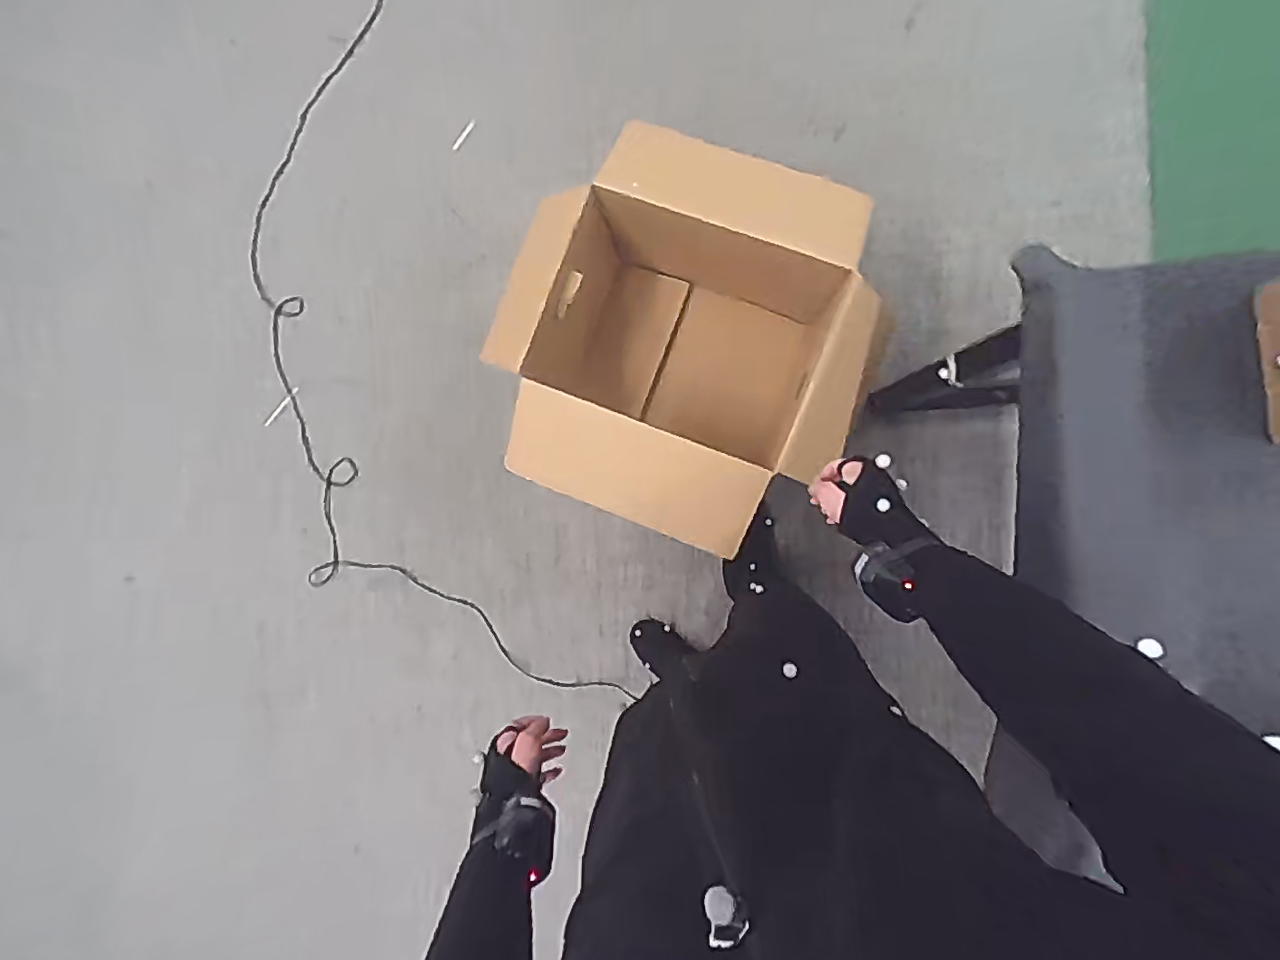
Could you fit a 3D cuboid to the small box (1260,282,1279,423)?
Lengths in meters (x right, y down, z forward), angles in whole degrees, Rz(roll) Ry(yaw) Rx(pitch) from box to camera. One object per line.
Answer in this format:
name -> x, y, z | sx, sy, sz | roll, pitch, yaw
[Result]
small box -> 0.756, -0.133, 0.504 | 0.168, 0.176, 0.179 | -7, 90, 6
